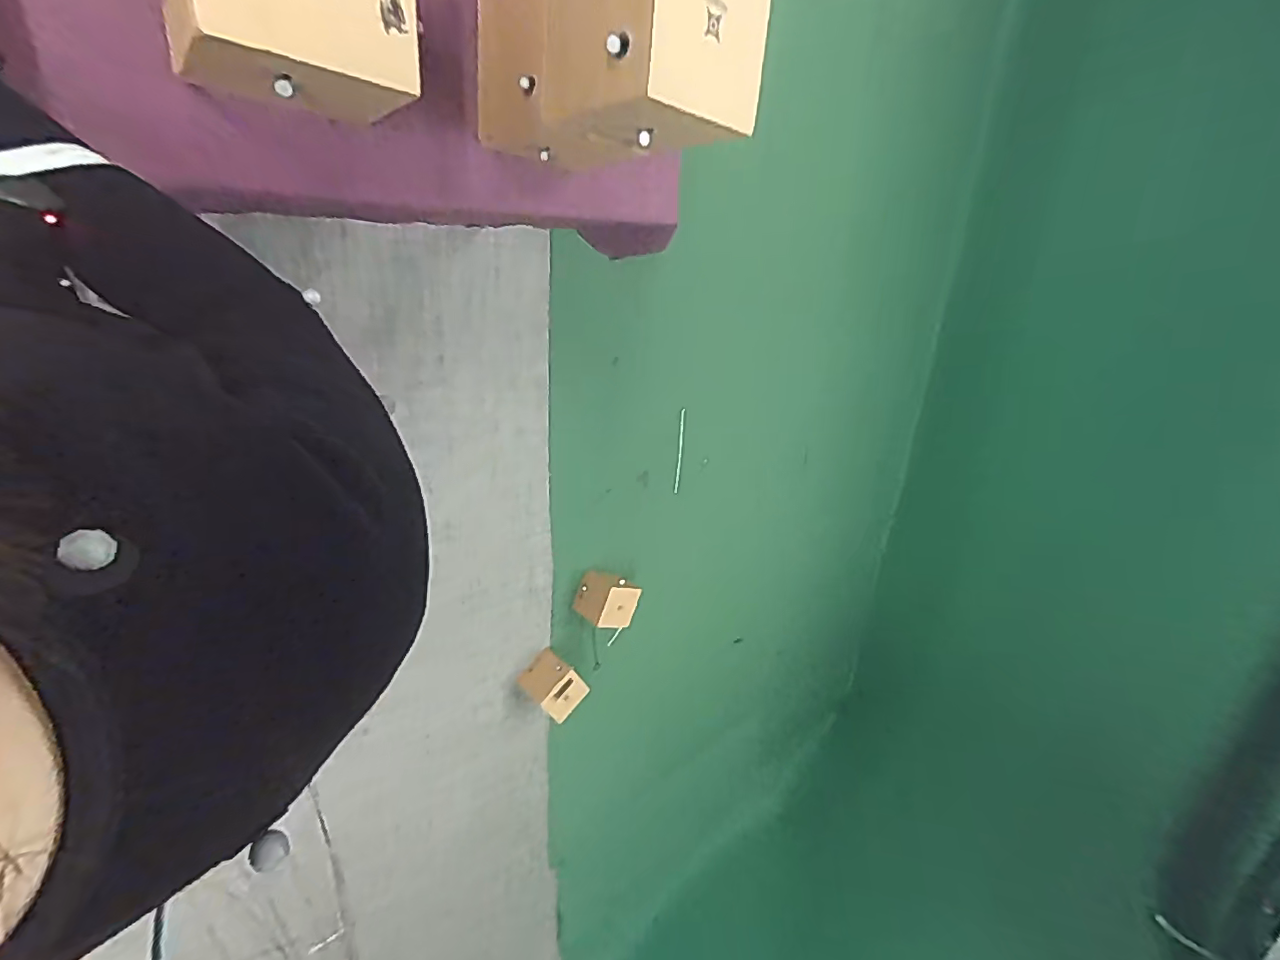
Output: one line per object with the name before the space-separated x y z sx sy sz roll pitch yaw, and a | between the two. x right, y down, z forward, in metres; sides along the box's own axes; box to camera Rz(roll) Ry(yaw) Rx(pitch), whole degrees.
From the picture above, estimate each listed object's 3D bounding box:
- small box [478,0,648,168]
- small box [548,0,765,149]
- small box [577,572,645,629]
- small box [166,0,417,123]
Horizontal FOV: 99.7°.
small box | -0.098 -0.526 0.699 0.168 0.176 0.179 -12 115 -41
small box | 0.013 -0.480 0.586 0.168 0.176 0.179 -14 116 -41
small box | -0.116 0.473 2.133 0.179 0.176 0.168 18 93 -46
small box | -0.329 -0.456 0.501 0.179 0.176 0.168 -13 115 -40
